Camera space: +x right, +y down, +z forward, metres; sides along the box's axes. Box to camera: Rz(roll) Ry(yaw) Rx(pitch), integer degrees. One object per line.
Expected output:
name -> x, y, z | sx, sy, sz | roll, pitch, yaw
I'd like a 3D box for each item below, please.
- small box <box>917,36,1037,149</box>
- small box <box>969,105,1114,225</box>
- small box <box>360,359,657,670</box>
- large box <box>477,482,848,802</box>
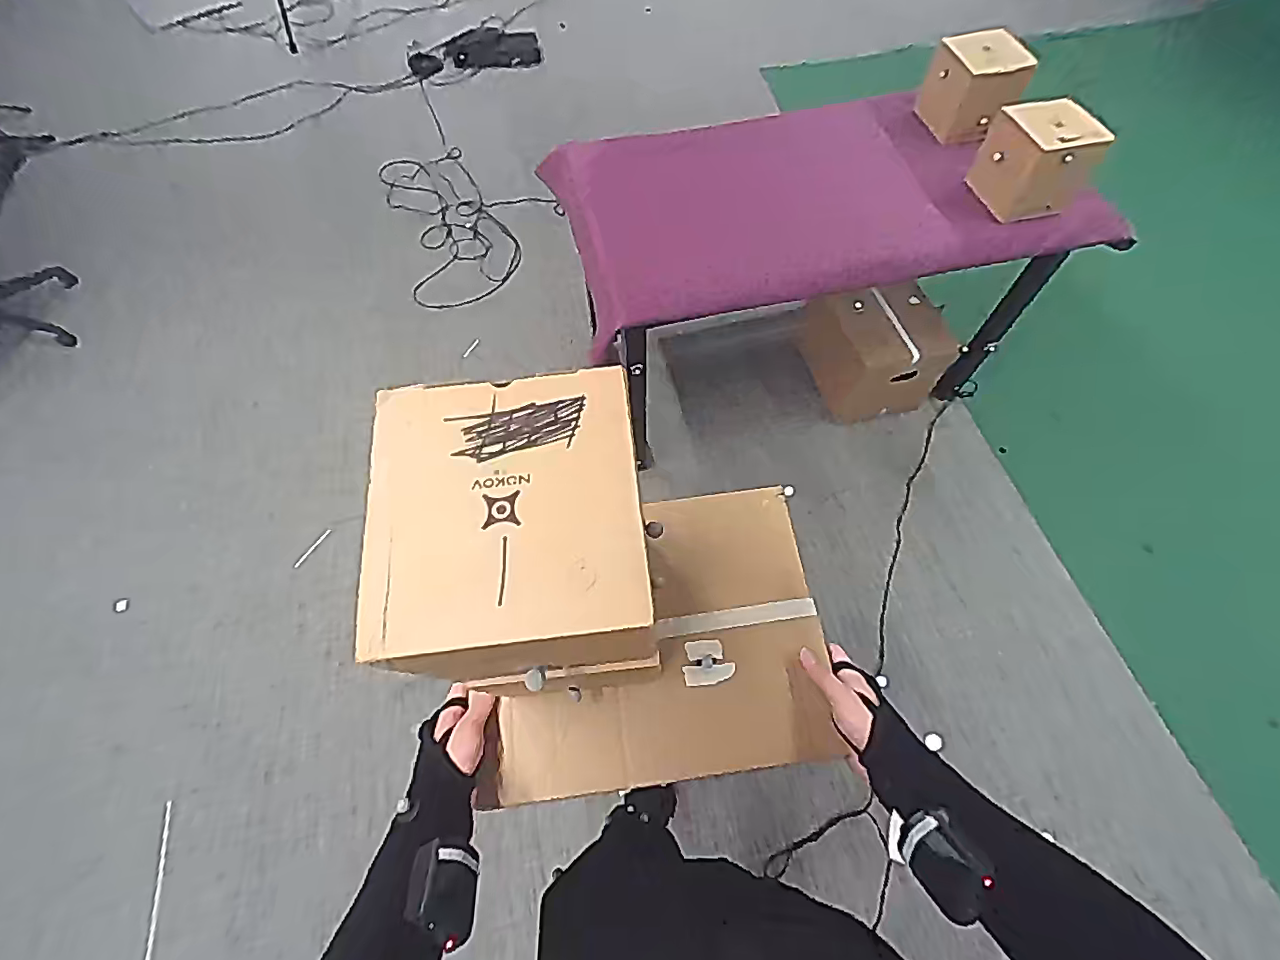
small box -> 0.845, -0.984, 1.380 | 0.168, 0.176, 0.179 | -12, 63, -3
small box -> 0.896, -0.713, 1.230 | 0.168, 0.176, 0.179 | -11, 59, -3
small box -> -0.080, 0.036, 0.405 | 0.168, 0.176, 0.179 | -7, 66, -1
large box -> 0.008, 0.230, 0.763 | 0.408, 0.320, 0.320 | -8, 66, -3
